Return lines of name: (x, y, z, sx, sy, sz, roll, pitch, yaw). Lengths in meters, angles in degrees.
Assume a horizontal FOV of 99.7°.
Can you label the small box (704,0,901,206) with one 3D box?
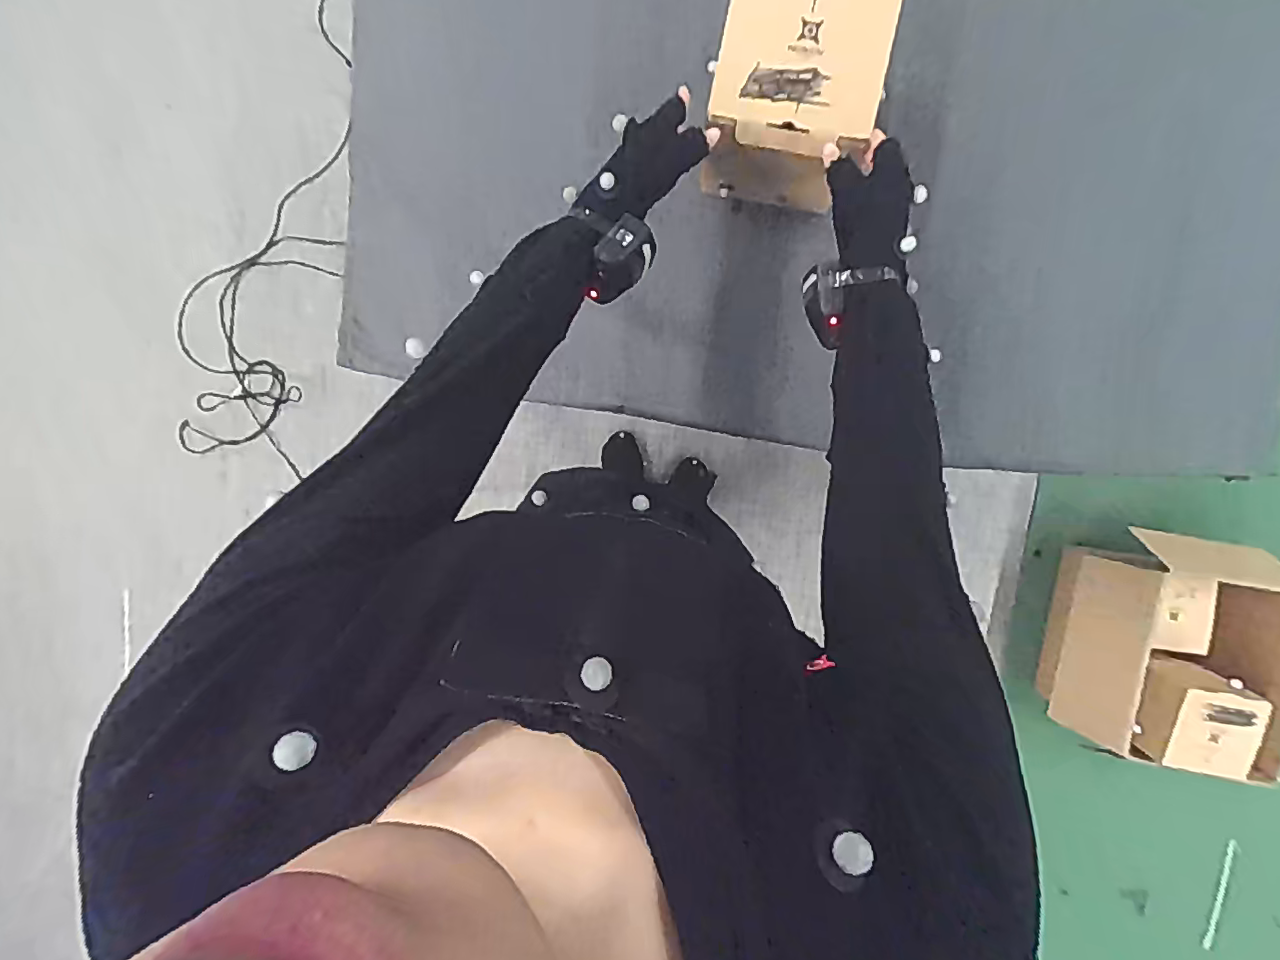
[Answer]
small box: (0.170, -0.440, 0.613, 0.168, 0.176, 0.179, 12, 95, 3)
